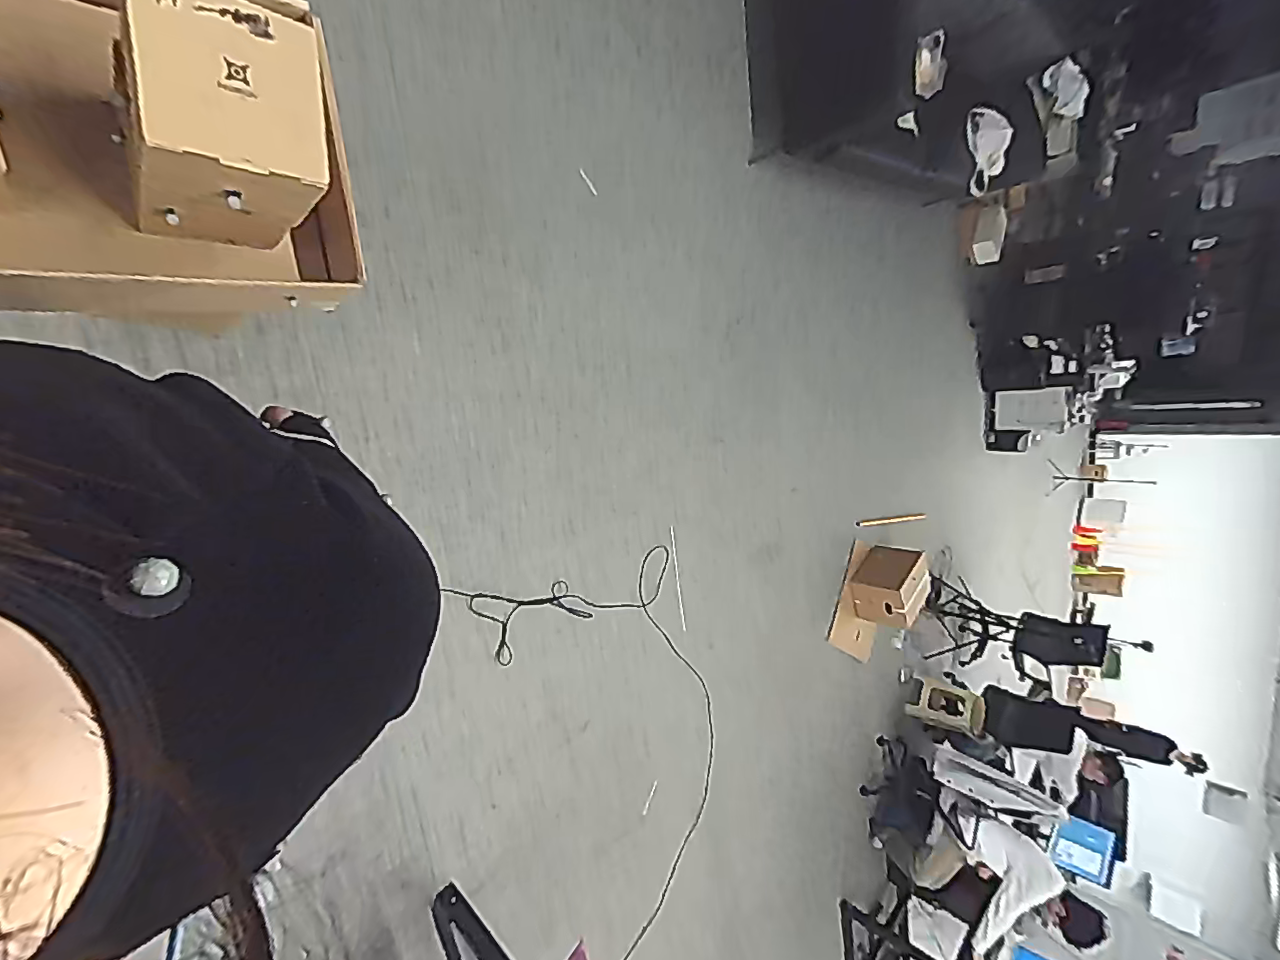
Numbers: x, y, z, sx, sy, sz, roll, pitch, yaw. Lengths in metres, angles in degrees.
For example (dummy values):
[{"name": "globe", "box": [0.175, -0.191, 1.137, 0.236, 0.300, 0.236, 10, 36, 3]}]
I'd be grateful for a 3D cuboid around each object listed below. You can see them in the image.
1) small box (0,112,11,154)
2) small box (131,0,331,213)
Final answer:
[{"name": "small box", "box": [-0.685, -0.391, 0.447, 0.179, 0.176, 0.168, -17, 106, -42]}, {"name": "small box", "box": [-0.475, -0.436, 0.632, 0.168, 0.176, 0.179, -6, 100, -42]}]
